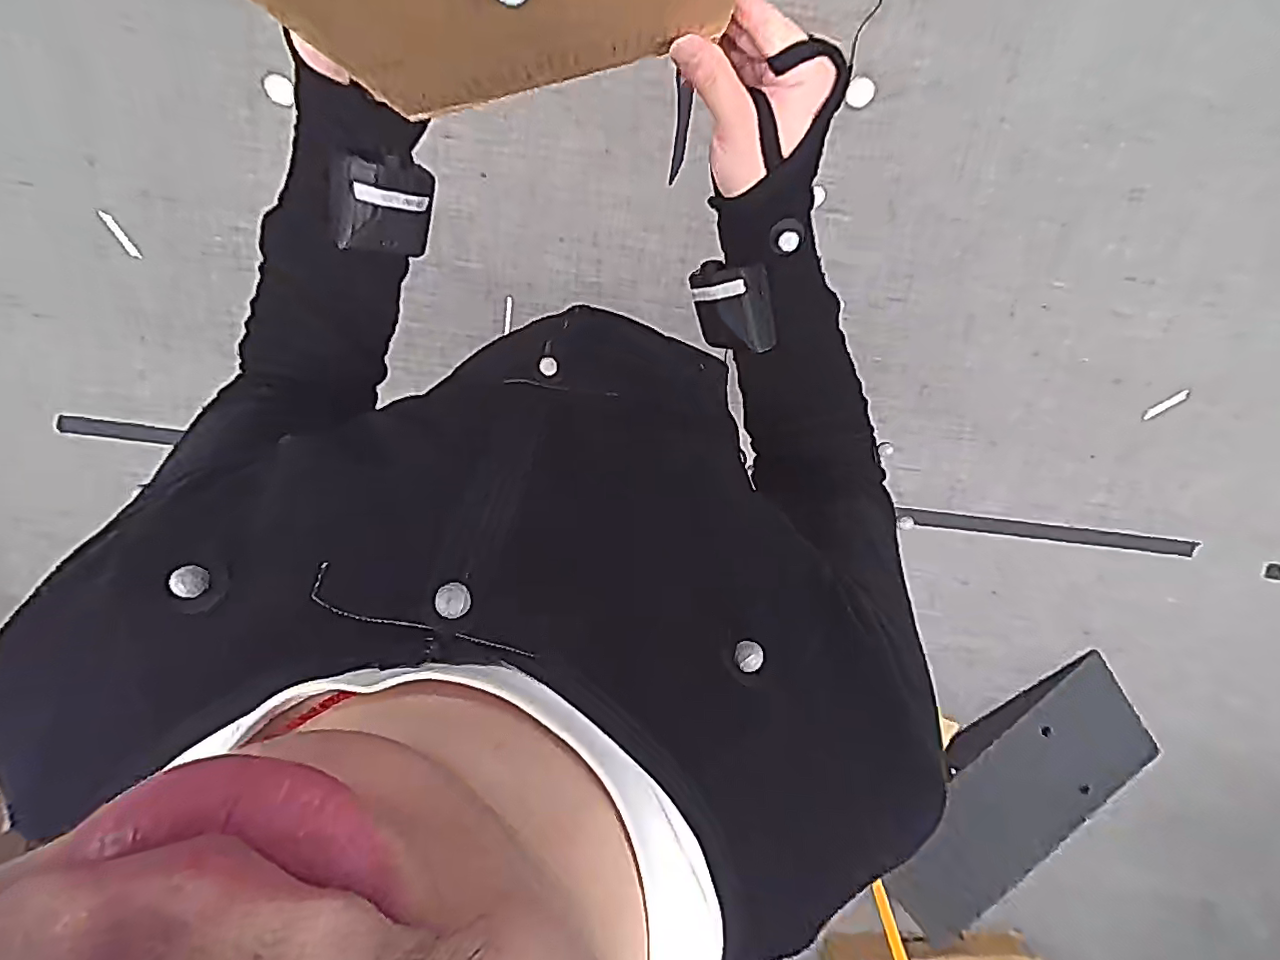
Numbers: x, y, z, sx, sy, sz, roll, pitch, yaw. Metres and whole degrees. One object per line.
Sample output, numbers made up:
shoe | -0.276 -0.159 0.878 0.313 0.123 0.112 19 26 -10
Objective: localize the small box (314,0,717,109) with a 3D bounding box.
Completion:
small box | -0.057 -0.267 0.197 0.179 0.176 0.168 -12 110 3
